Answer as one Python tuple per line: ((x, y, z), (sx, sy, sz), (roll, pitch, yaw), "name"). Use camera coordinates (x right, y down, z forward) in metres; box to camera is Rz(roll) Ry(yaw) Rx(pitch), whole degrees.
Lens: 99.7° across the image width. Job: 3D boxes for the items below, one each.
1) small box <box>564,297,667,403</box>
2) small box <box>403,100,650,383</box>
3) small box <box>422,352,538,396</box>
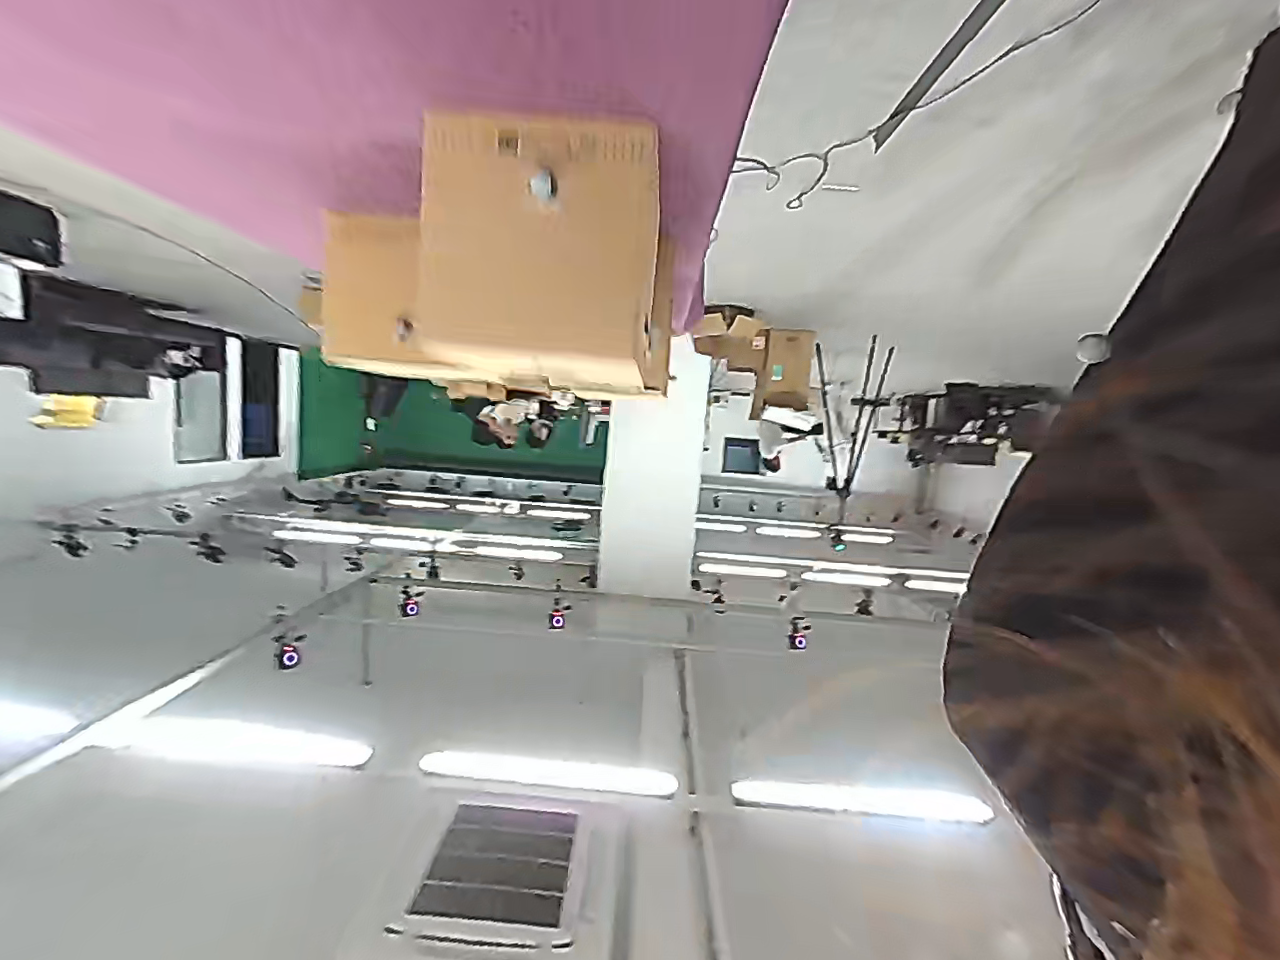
((-0.039, -0.232, 0.972), (0.168, 0.176, 0.179), (4, -175, 1), "small box")
((-0.080, -0.181, 0.461), (0.168, 0.176, 0.179), (5, -174, 1), "small box")
((-0.280, -0.250, 0.989), (0.168, 0.176, 0.179), (4, -175, 3), "small box")
